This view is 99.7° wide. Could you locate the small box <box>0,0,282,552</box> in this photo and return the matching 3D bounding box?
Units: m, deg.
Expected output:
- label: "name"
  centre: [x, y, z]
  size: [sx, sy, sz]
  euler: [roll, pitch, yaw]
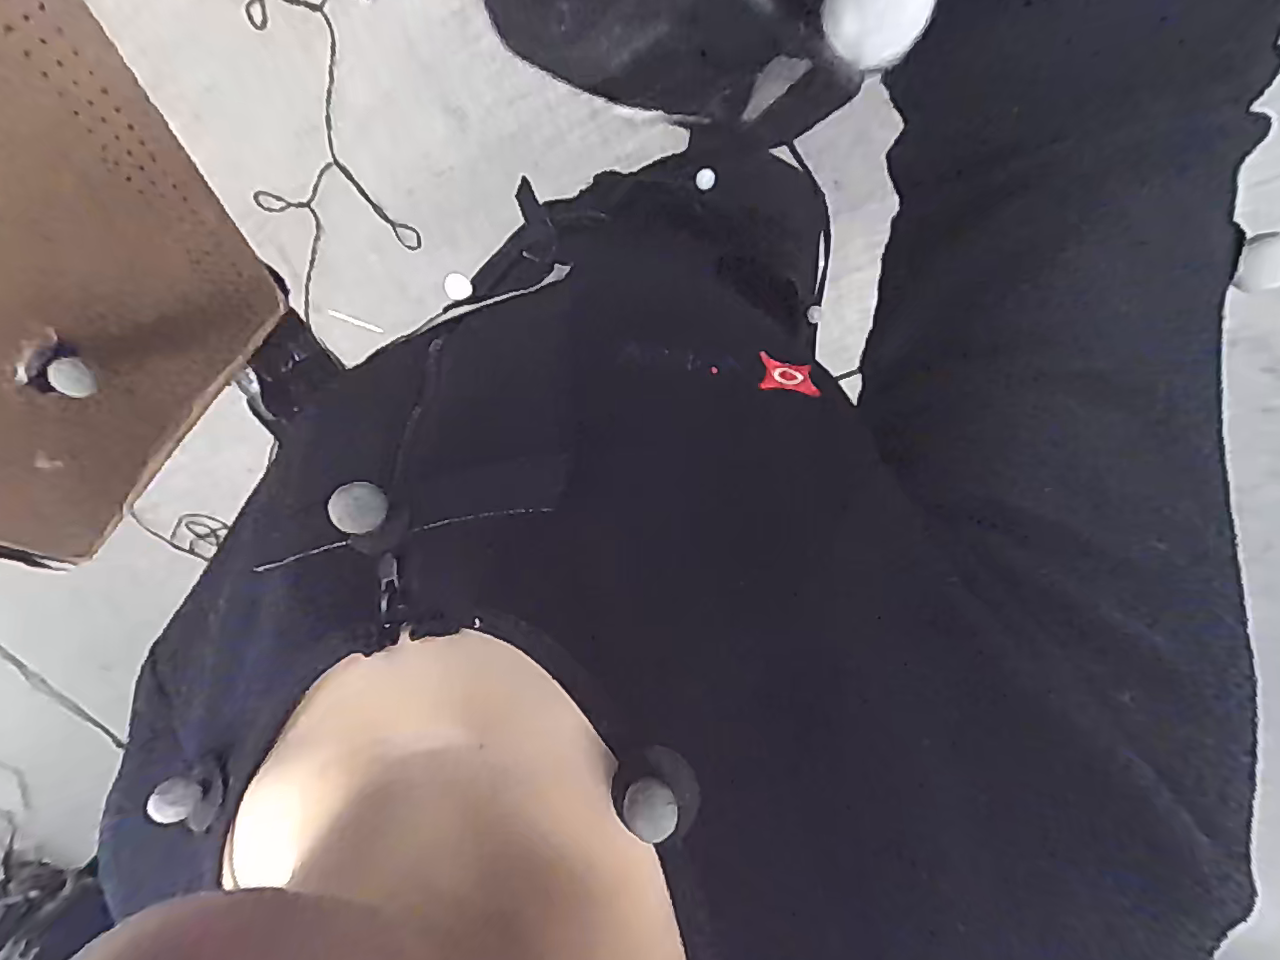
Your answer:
- label: "small box"
  centre: [-0.286, -0.096, 0.204]
  size: [0.168, 0.176, 0.179]
  euler: [21, 158, -1]
